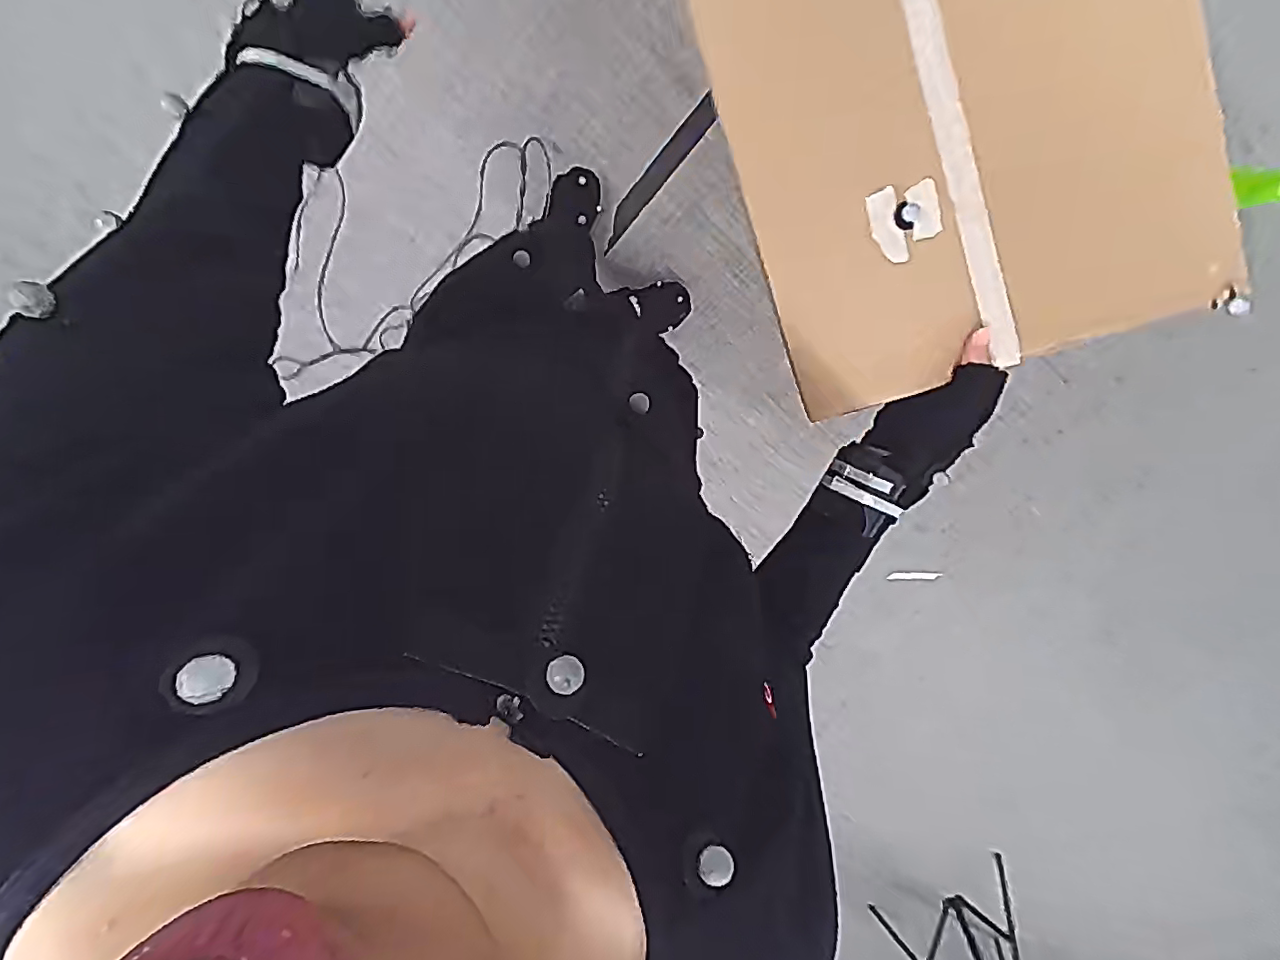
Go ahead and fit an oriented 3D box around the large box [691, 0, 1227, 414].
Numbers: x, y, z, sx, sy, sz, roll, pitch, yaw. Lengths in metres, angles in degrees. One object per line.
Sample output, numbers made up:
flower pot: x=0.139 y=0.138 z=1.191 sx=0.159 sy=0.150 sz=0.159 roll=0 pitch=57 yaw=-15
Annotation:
large box: x=0.273 y=-0.317 z=0.562 sx=0.320 sy=0.320 sz=0.408 roll=-15 pitch=99 yaw=18
